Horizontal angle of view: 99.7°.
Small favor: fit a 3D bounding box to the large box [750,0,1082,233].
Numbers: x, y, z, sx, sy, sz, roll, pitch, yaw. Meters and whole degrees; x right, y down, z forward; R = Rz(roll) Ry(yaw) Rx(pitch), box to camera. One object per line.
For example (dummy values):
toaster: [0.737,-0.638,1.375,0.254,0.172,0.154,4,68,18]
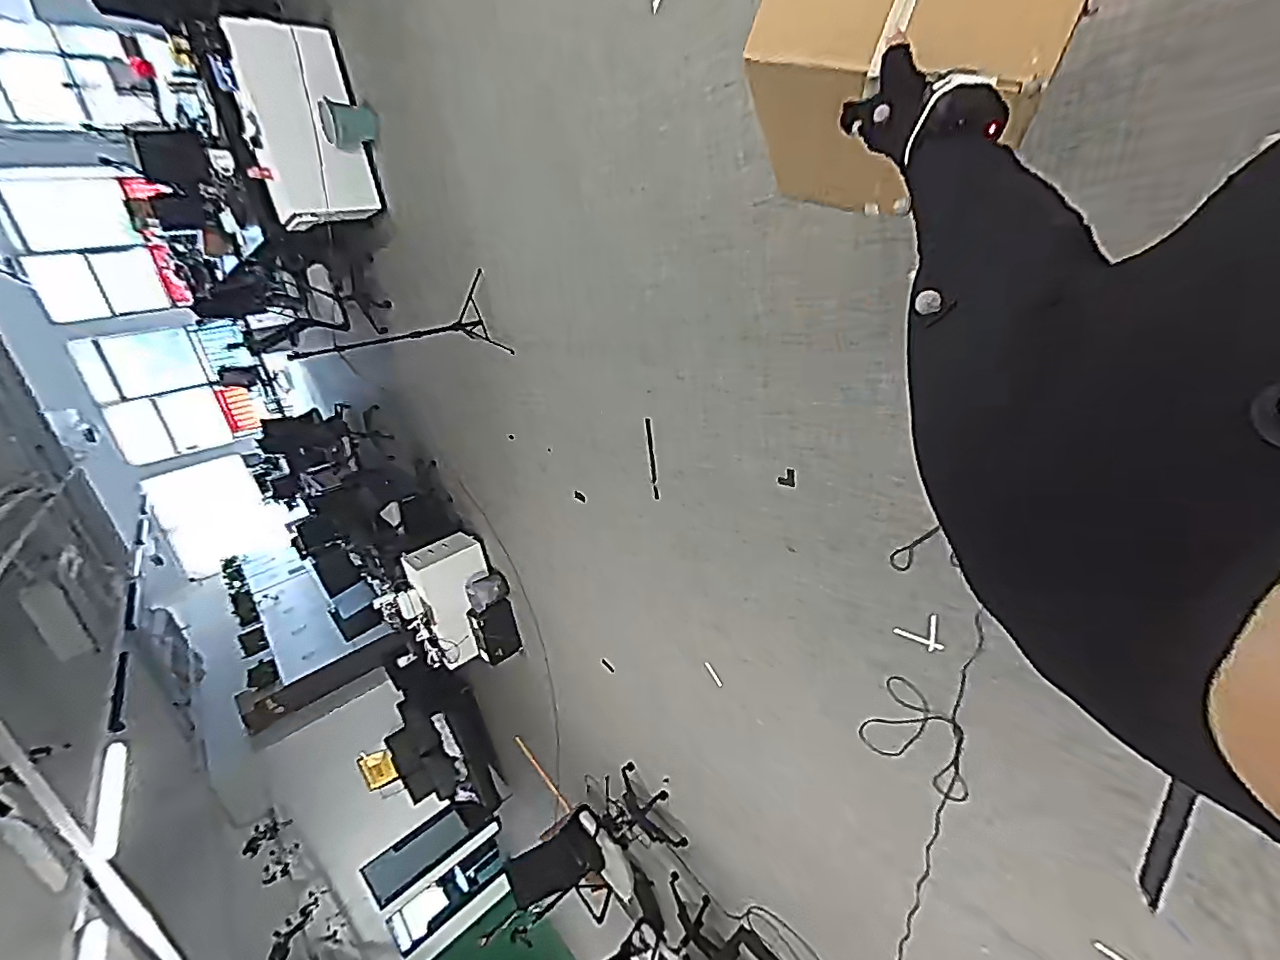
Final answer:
large box: [0.381,-0.607,0.699,0.320,0.320,0.408,24,98,23]
